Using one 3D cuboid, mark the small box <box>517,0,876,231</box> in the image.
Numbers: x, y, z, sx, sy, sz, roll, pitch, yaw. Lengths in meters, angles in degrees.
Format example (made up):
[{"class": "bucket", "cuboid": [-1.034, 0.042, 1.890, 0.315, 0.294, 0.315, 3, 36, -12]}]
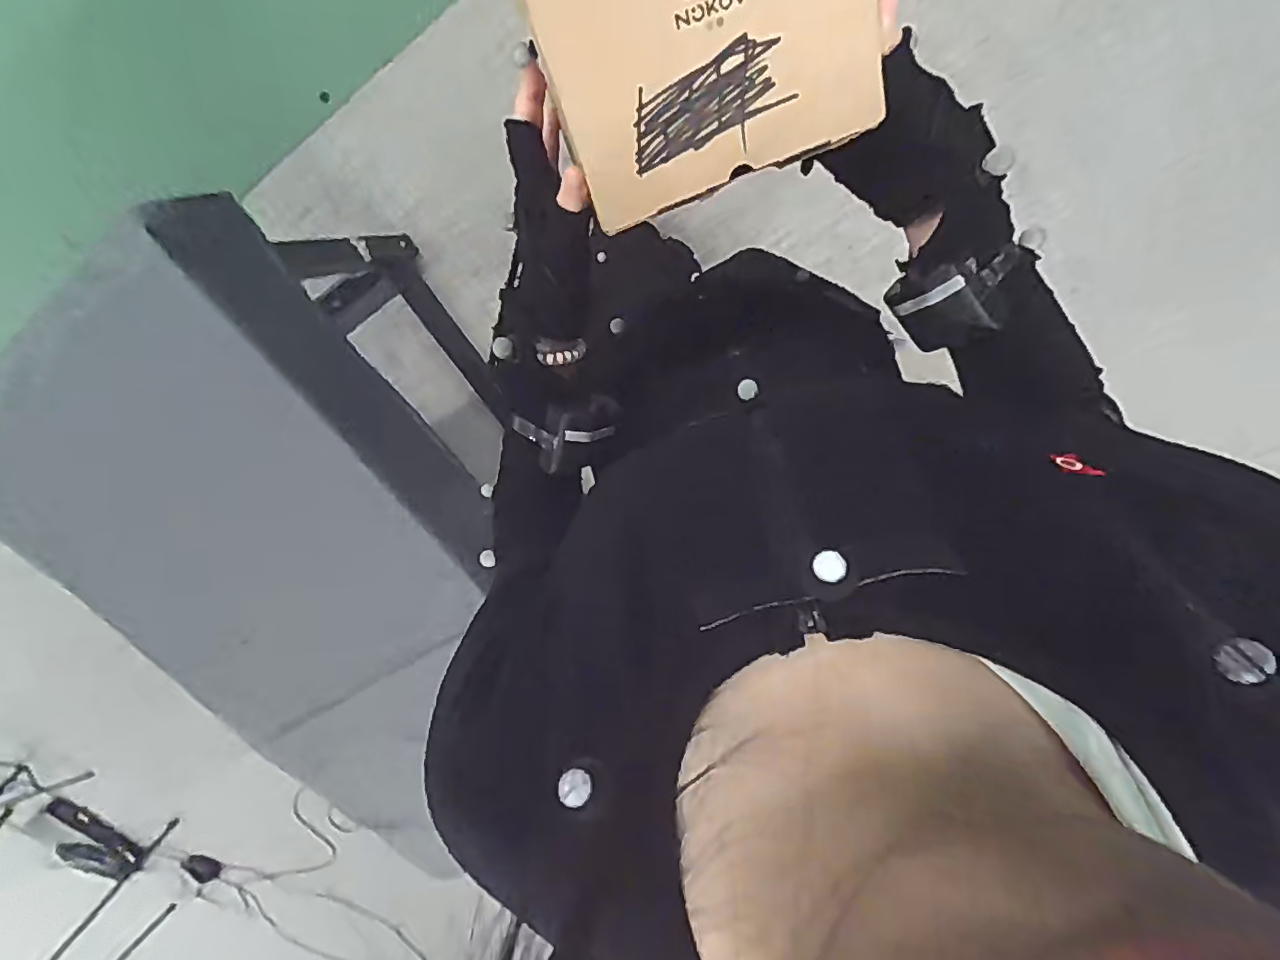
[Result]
[{"class": "small box", "cuboid": [0.017, -0.277, 0.320, 0.168, 0.176, 0.179, -20, 124, 4]}]
